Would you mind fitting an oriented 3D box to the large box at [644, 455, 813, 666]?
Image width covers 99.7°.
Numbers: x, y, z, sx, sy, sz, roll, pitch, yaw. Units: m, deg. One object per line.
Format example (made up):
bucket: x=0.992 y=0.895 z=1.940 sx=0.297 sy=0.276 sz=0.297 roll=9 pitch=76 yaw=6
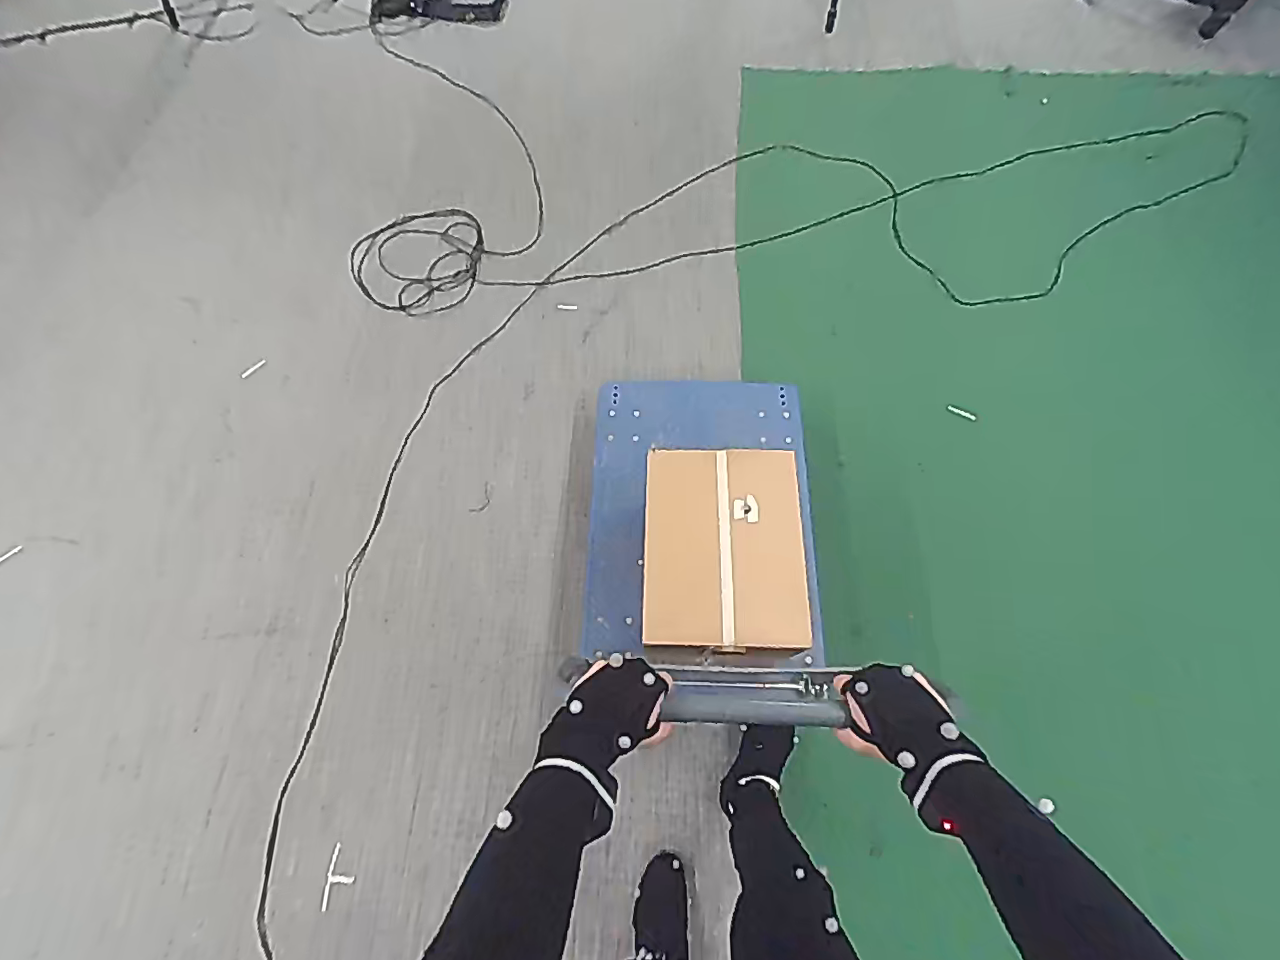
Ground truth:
large box: x=0.172 y=0.191 z=1.210 sx=0.320 sy=0.320 sz=0.408 roll=1 pitch=65 yaw=2
